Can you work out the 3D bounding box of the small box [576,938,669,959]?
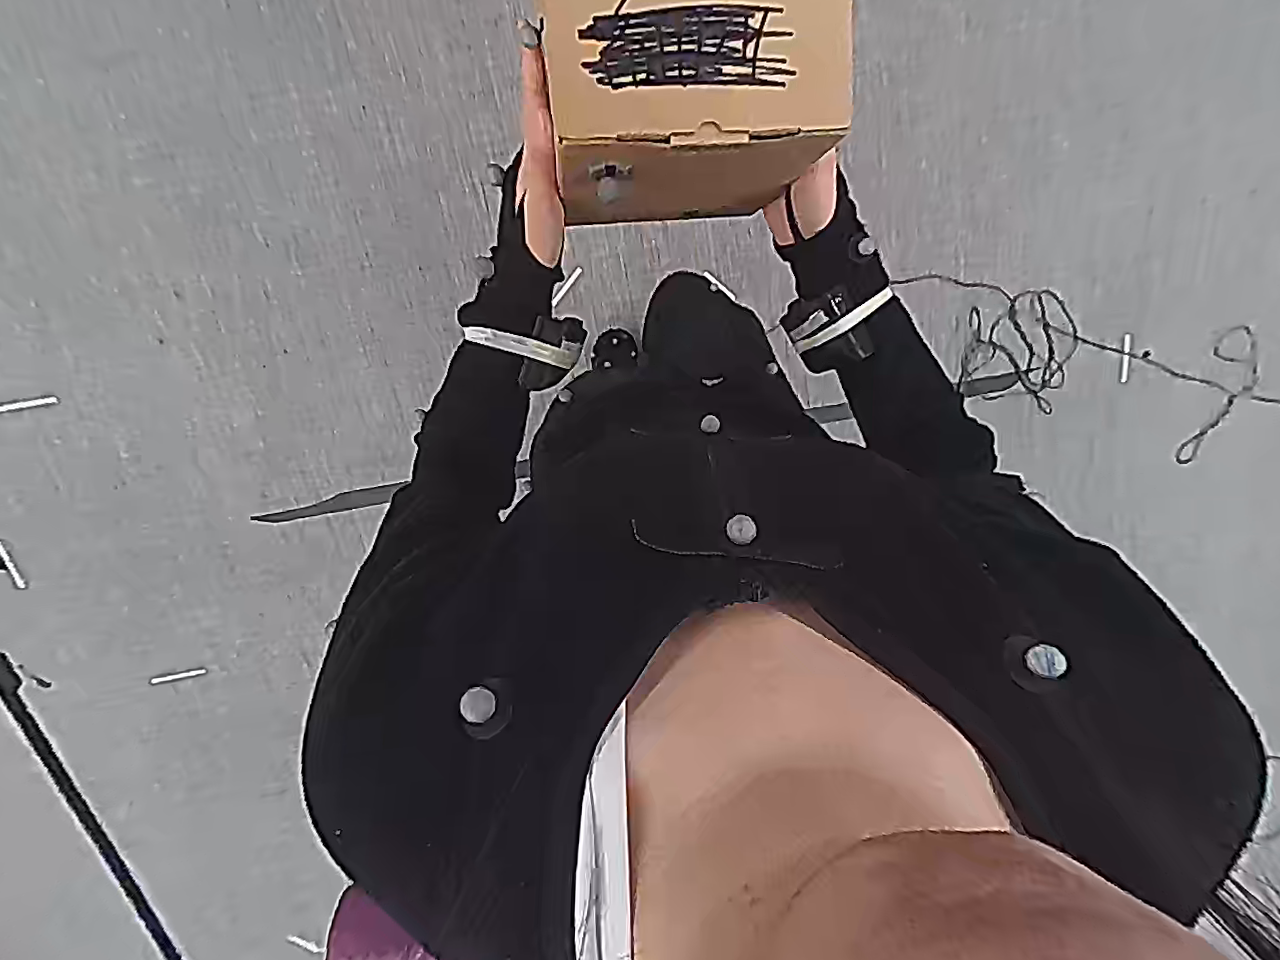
[{"bbox_3d":[-0.017,0.945,0.941,0.168,0.176,0.179,-11,107,-3],"label":"small box"}]
